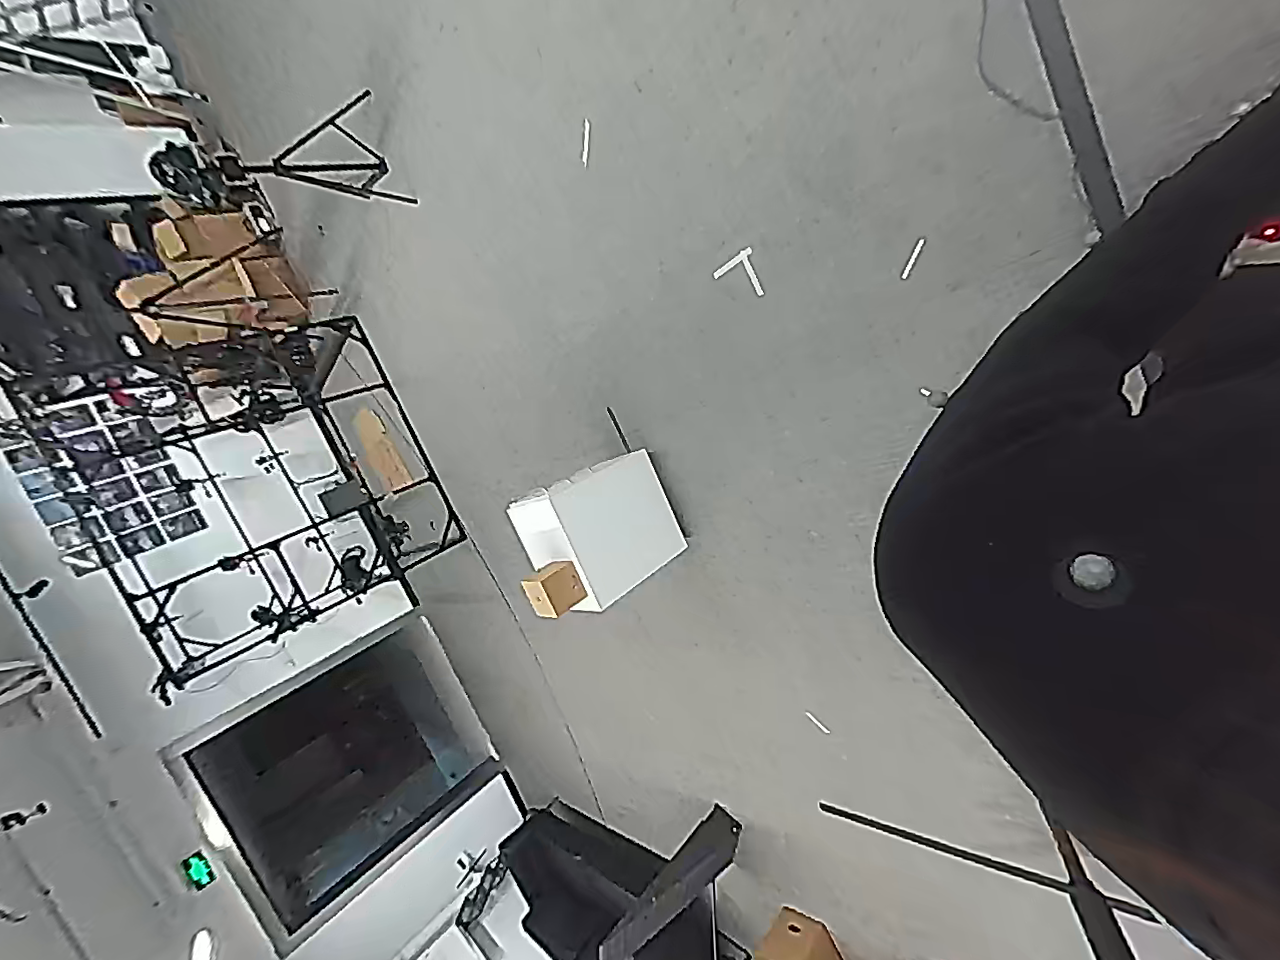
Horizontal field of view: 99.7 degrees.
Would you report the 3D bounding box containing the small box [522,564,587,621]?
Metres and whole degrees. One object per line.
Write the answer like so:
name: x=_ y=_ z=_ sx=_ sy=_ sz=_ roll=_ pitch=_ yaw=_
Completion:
small box: x=-0.343 y=0.450 z=2.186 sx=0.179 sy=0.176 sz=0.168 roll=-13 pitch=103 yaw=51
